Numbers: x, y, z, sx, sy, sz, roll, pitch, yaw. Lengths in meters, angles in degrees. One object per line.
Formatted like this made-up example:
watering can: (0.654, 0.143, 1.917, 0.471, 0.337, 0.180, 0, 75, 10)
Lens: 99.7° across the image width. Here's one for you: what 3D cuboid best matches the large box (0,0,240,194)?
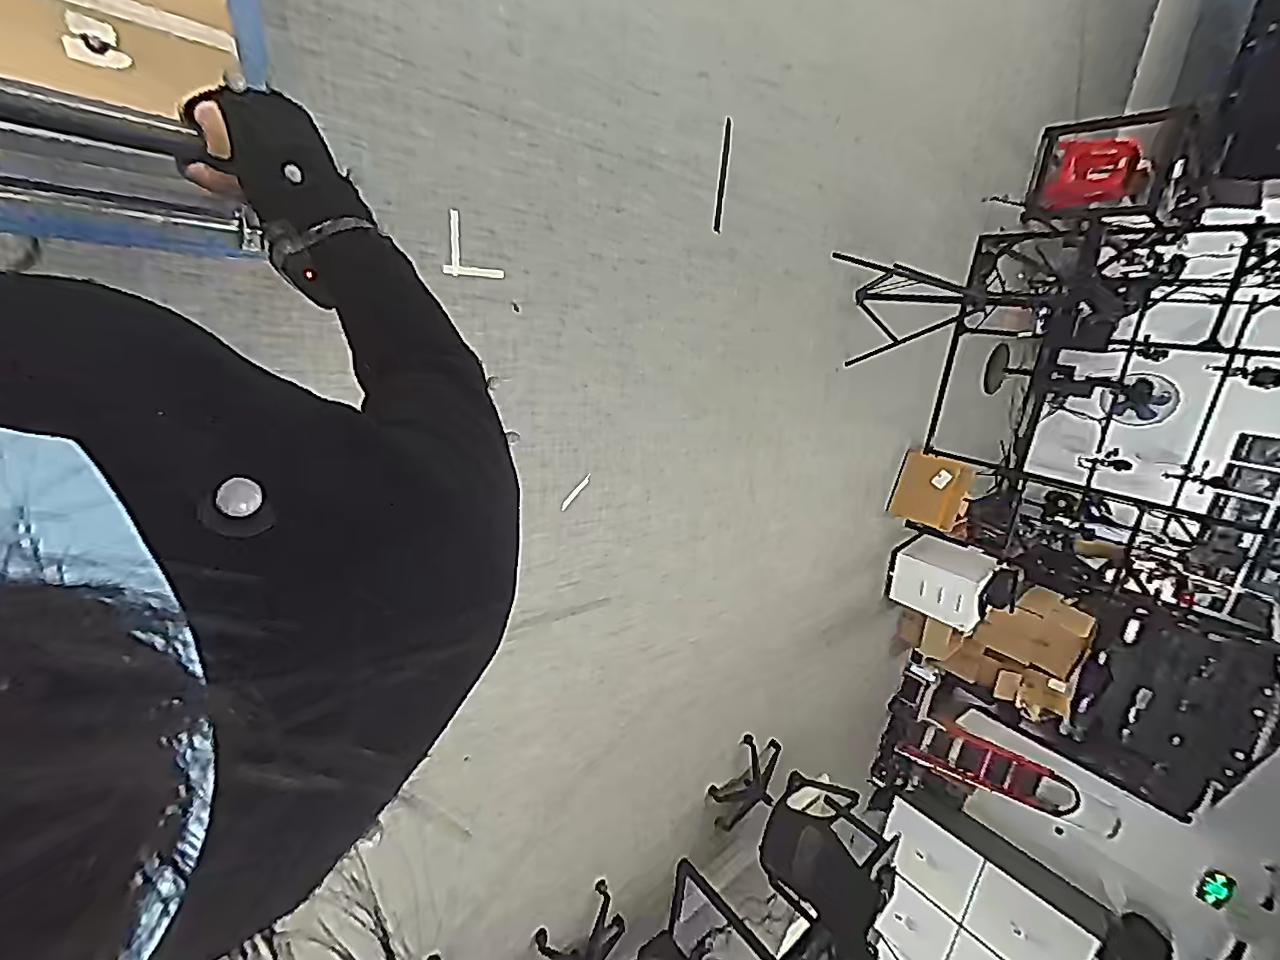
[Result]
large box: (-0.791, -0.583, 0.683, 0.408, 0.320, 0.320, -10, 113, -41)
